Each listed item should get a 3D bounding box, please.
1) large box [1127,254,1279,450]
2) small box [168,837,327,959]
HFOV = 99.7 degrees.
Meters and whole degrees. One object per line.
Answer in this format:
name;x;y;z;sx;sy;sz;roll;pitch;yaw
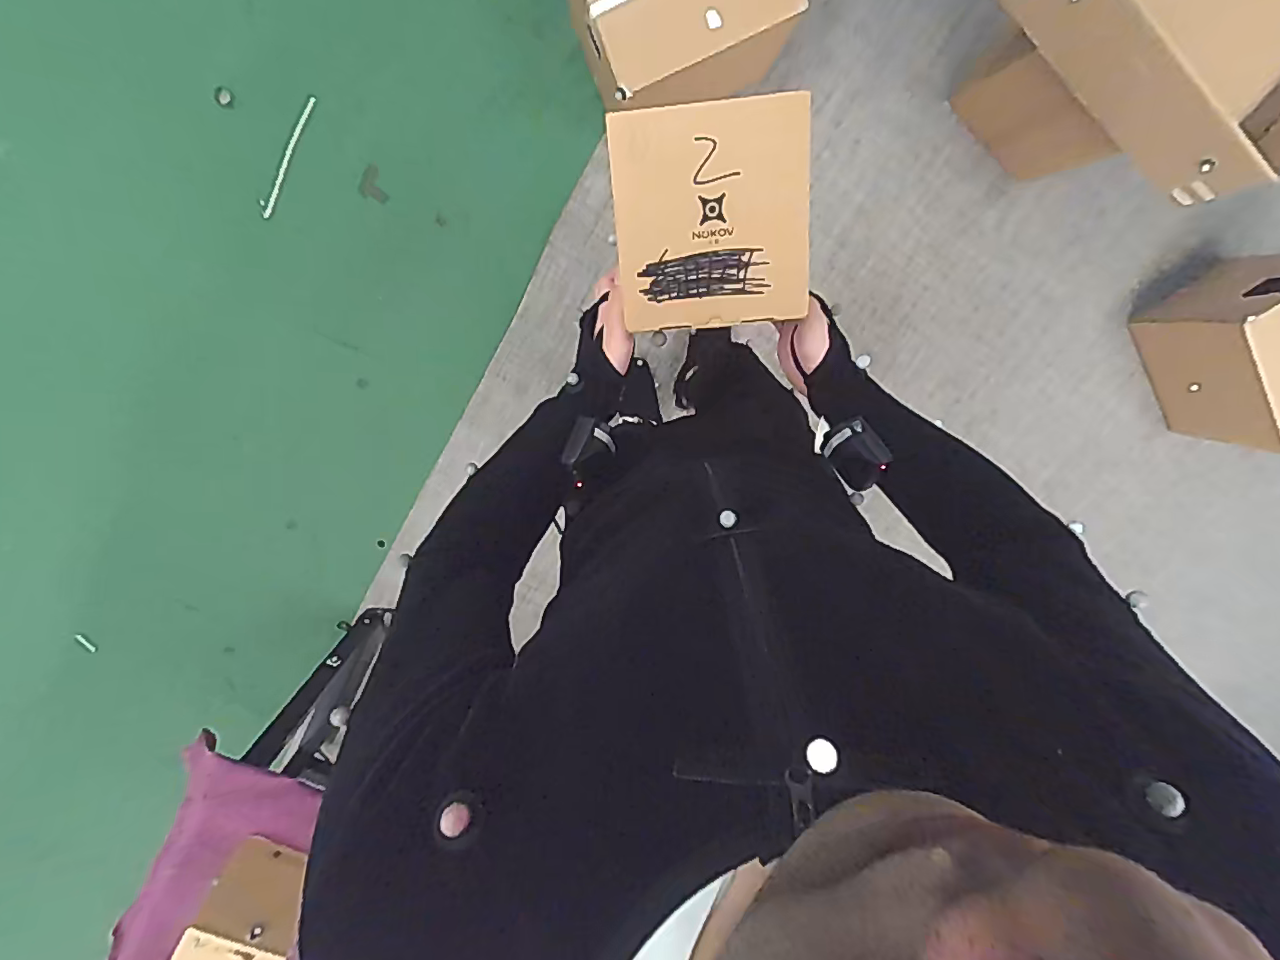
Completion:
large box;1.658;-0.350;1.463;0.320;0.320;0.408;-35;104;6
small box;-0.707;0.800;0.977;0.168;0.176;0.179;31;105;-12
